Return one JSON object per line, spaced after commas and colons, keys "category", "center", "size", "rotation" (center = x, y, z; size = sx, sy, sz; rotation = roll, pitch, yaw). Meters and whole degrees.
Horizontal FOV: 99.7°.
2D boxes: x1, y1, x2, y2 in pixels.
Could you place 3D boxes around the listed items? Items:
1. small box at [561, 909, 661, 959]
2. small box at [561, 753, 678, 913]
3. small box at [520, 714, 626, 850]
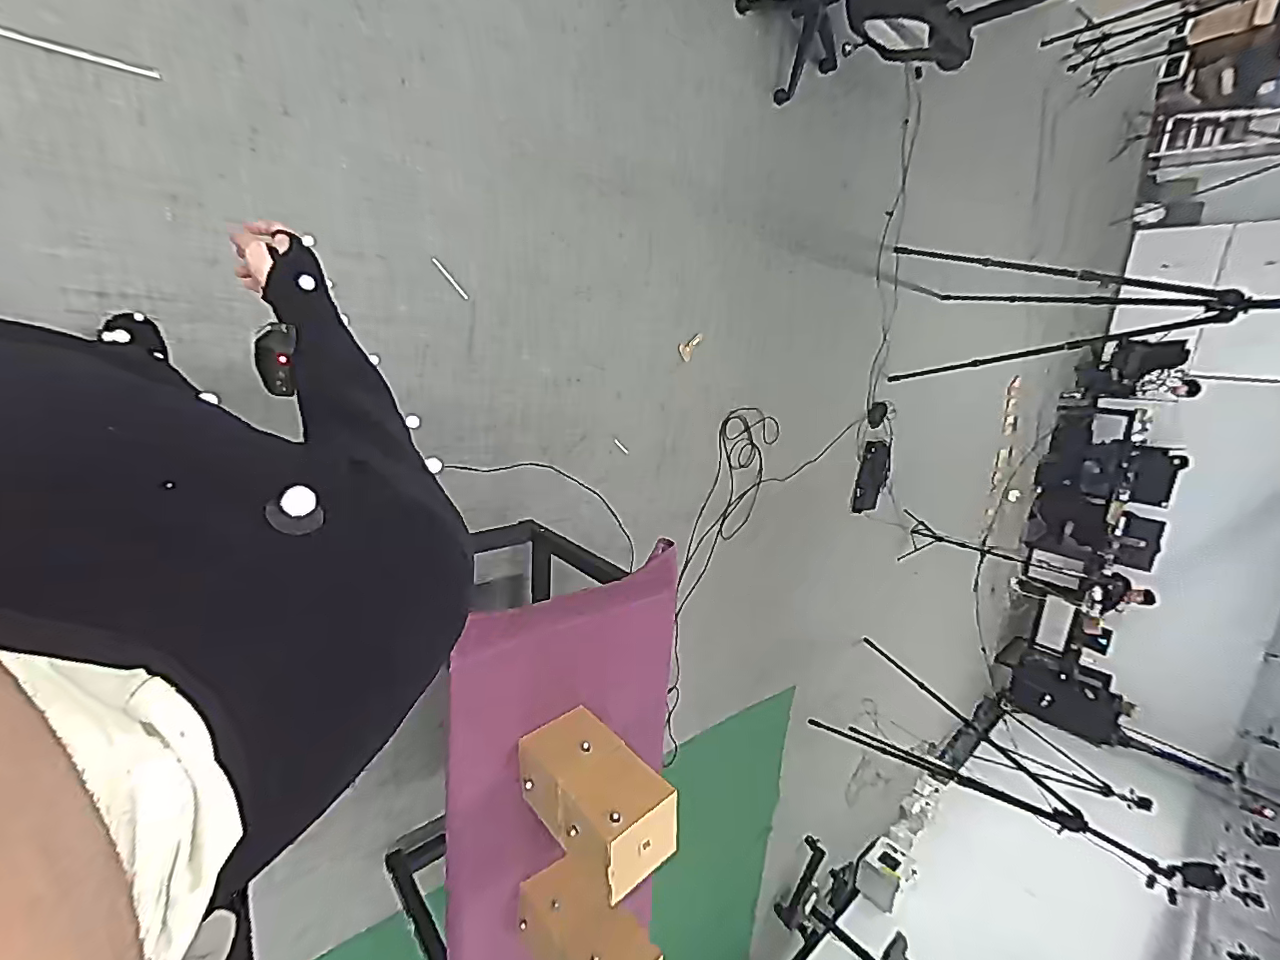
{"category": "small box", "center": [-0.073, 1.116, 1.194], "size": [0.179, 0.176, 0.168], "rotation": [-5, 106, -41]}
{"category": "small box", "center": [-0.042, 0.701, 1.100], "size": [0.179, 0.176, 0.168], "rotation": [-15, 113, -37]}
{"category": "small box", "center": [-0.151, 0.663, 1.215], "size": [0.179, 0.176, 0.168], "rotation": [-13, 110, -39]}
